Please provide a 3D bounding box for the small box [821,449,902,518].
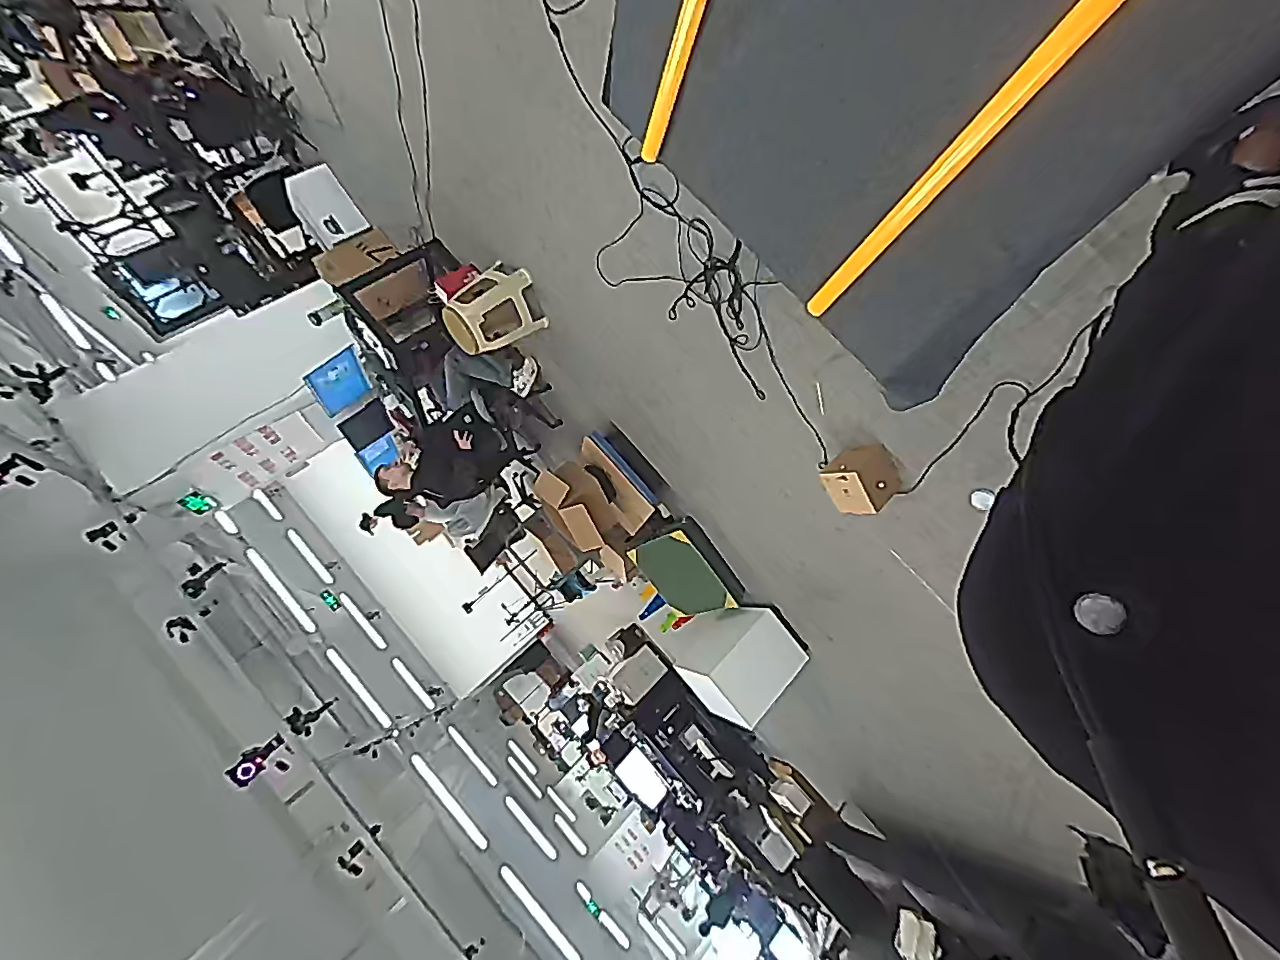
[{"bbox_3d":[0.777,0.010,1.886,0.179,0.176,0.168,57,157,-14],"label":"small box"}]
